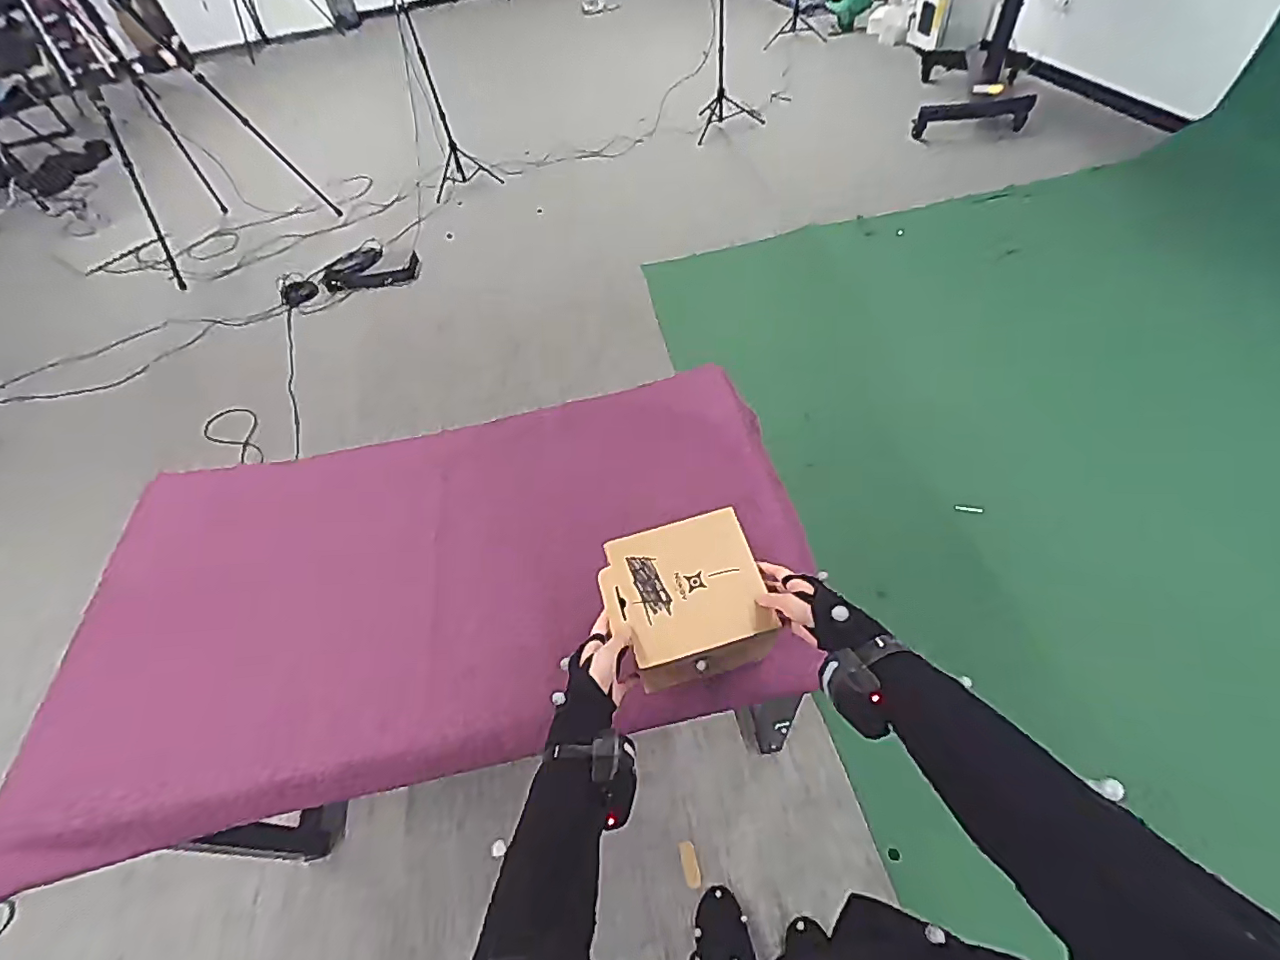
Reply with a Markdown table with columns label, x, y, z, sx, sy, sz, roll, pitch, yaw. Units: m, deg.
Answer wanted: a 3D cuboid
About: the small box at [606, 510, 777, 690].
| label | x | y | z | sx | sy | sz | roll | pitch | yaw |
| --- | --- | --- | --- | --- | --- | --- | --- | --- | --- |
| small box | 0.066 | 0.168 | 0.729 | 0.179 | 0.176 | 0.168 | -15 | 59 | -3 |
